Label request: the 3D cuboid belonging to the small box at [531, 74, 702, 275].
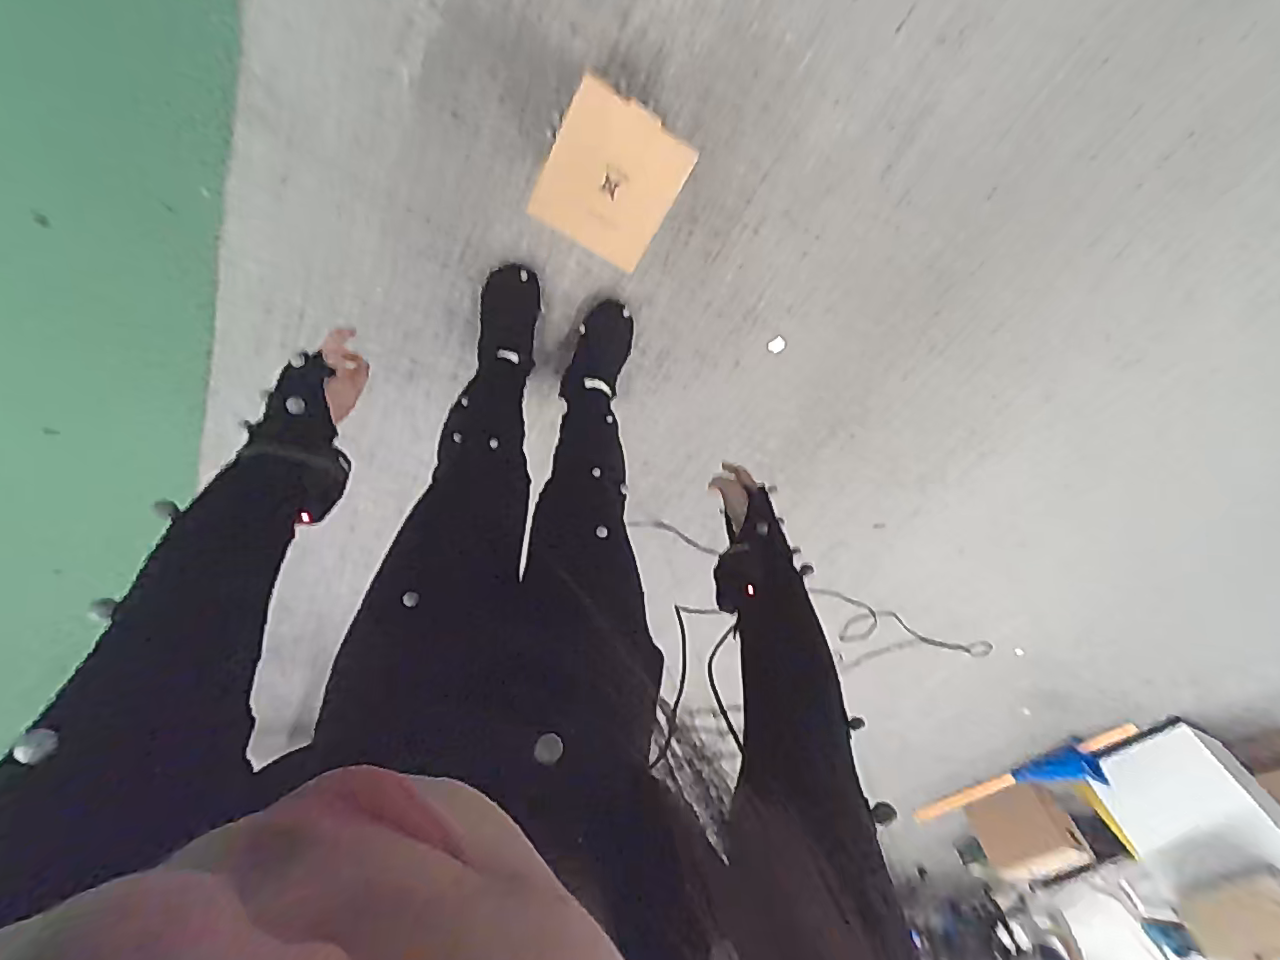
[{"bbox_3d":[-0.038,-0.428,0.757,0.168,0.176,0.179,23,123,-20],"label":"small box"}]
